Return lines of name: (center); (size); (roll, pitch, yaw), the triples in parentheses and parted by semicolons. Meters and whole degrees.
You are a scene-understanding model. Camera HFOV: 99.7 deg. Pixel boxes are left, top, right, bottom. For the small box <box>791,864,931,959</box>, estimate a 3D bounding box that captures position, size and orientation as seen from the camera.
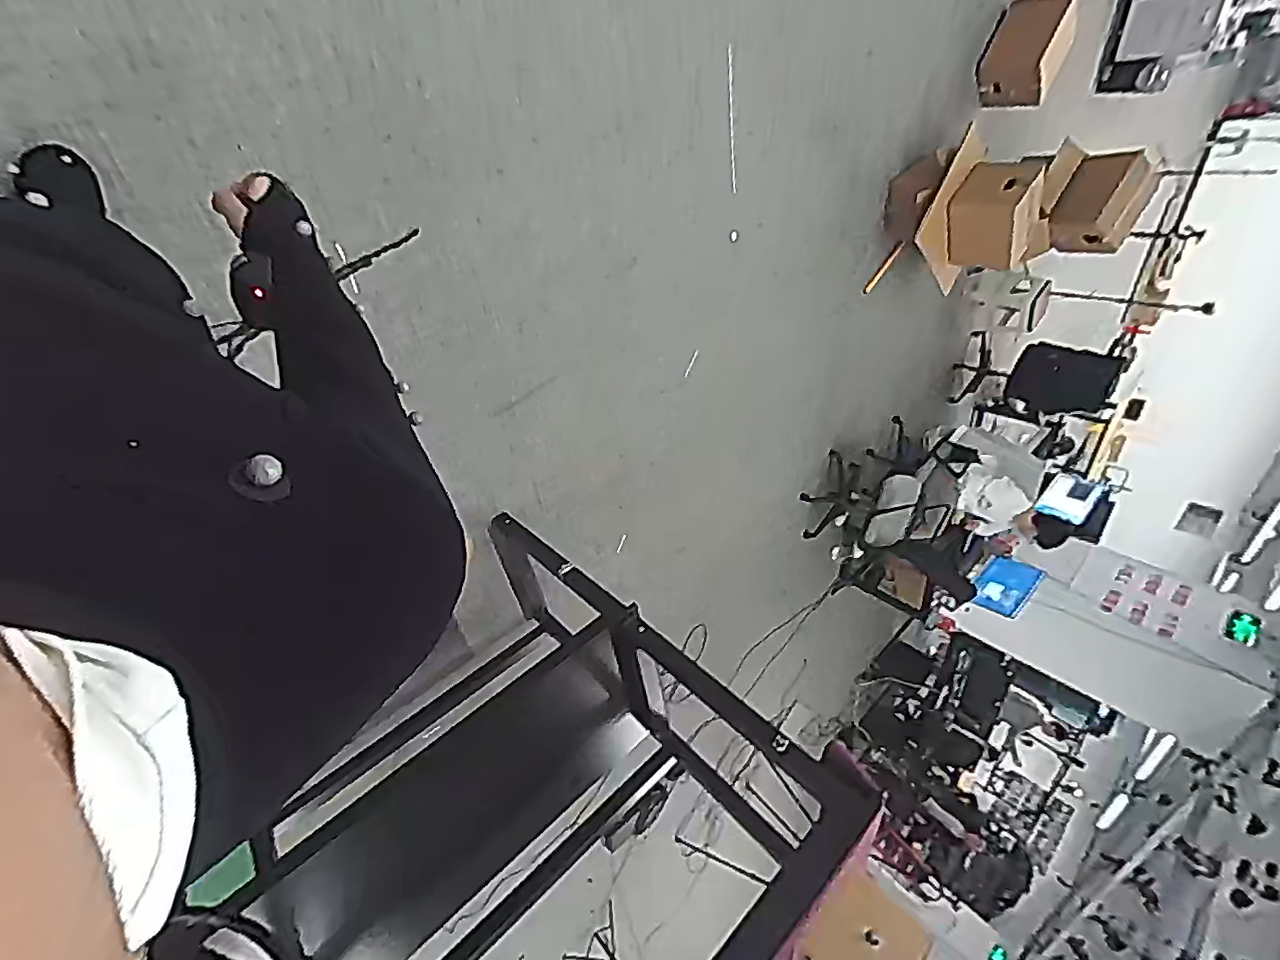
small box: (0.391, 0.860, 0.982); (0.179, 0.176, 0.168); (-33, 132, -28)
